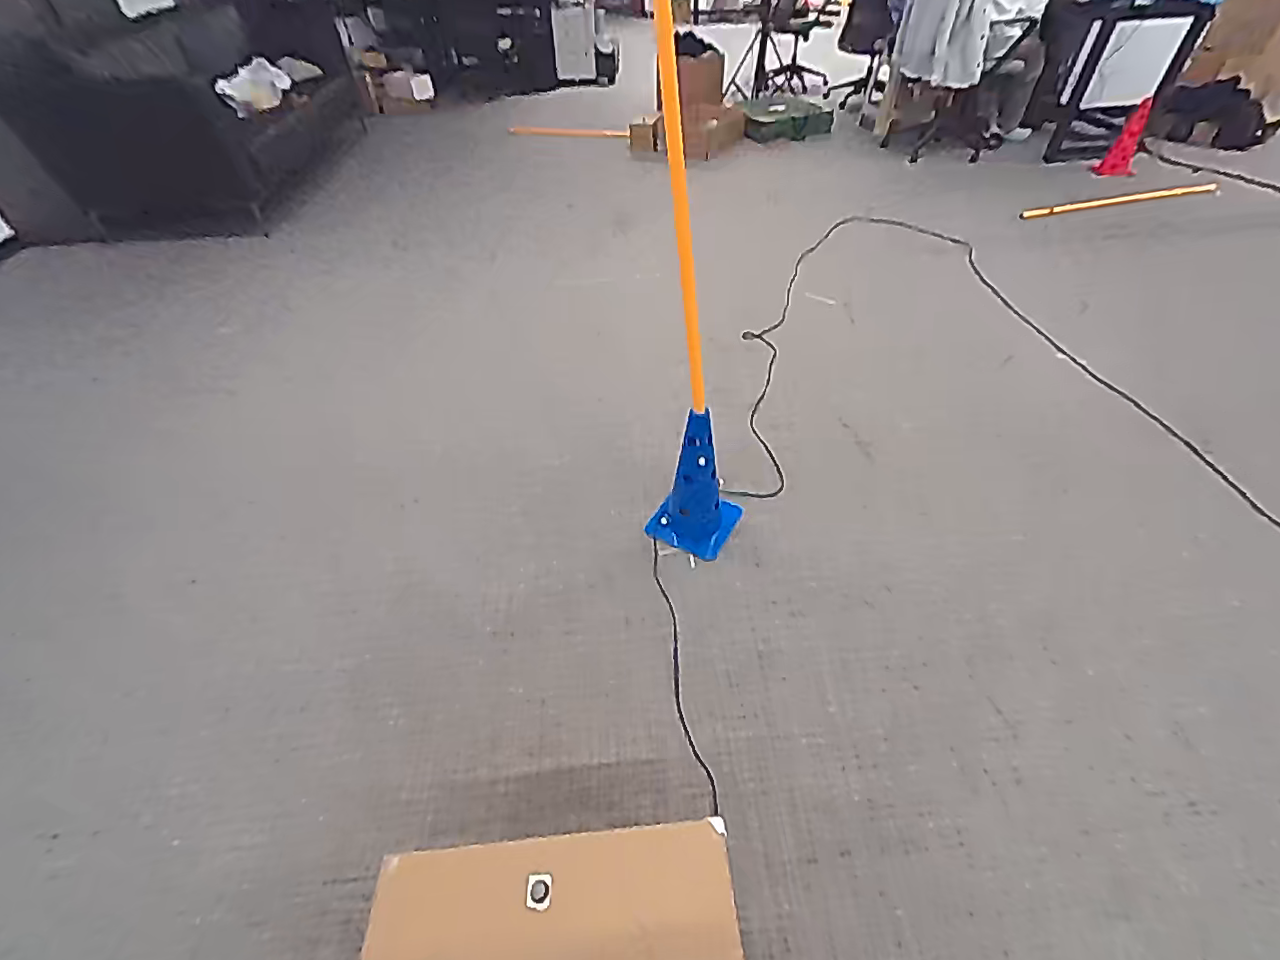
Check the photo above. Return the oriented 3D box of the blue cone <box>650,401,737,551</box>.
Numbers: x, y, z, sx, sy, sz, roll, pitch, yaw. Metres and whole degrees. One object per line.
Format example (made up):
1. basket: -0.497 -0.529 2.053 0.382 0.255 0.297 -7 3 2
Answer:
1. blue cone: 0.130 -0.022 1.259 0.192 0.380 0.193 19 50 21
